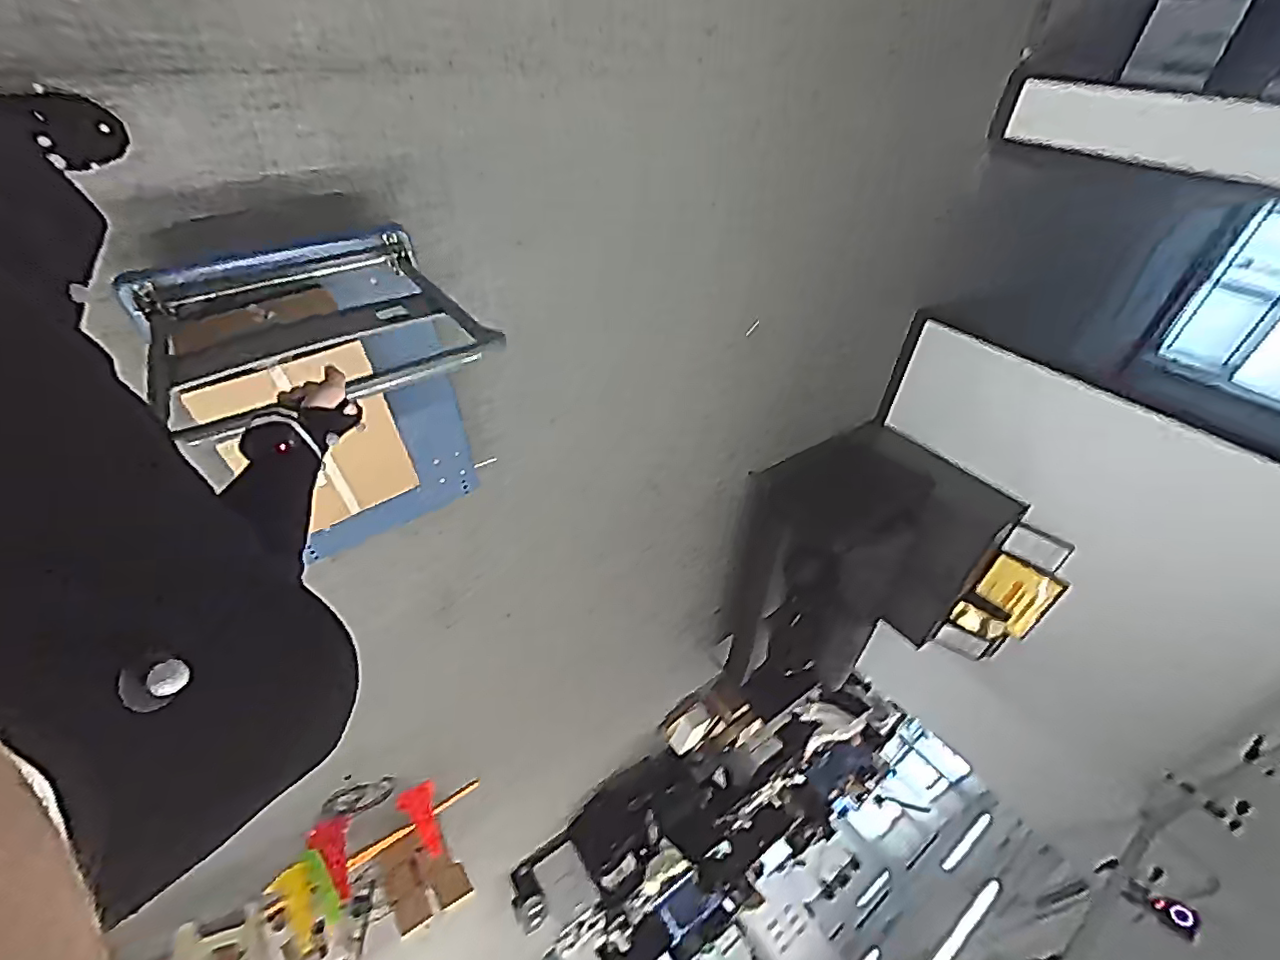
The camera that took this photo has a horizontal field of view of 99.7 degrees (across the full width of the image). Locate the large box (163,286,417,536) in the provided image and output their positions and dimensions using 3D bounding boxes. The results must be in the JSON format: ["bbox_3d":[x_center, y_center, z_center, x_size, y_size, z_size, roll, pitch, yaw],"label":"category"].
[{"bbox_3d":[-0.766,-0.159,1.220,0.320,0.320,0.408,-27,140,-24],"label":"large box"}]
